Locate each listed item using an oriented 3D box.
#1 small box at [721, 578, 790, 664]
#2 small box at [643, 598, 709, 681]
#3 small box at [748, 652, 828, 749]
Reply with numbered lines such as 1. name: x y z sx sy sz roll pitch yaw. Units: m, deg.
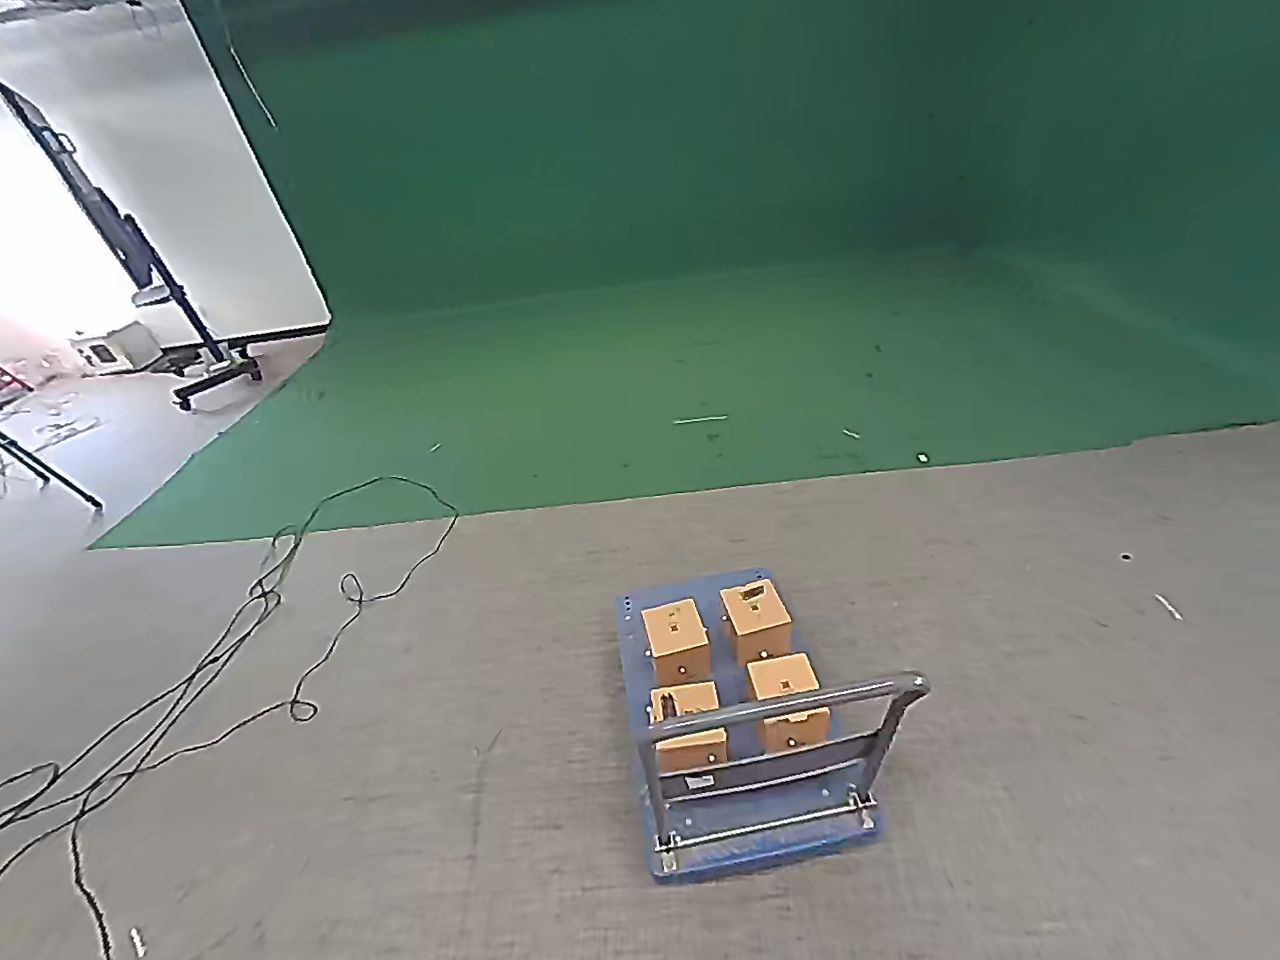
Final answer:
1. small box: 0.357 0.442 1.695 0.168 0.176 0.179 -14 39 -4
2. small box: 0.113 0.499 1.673 0.168 0.176 0.179 -12 38 -5
3. small box: 0.396 0.604 1.481 0.168 0.176 0.179 -10 38 -1
